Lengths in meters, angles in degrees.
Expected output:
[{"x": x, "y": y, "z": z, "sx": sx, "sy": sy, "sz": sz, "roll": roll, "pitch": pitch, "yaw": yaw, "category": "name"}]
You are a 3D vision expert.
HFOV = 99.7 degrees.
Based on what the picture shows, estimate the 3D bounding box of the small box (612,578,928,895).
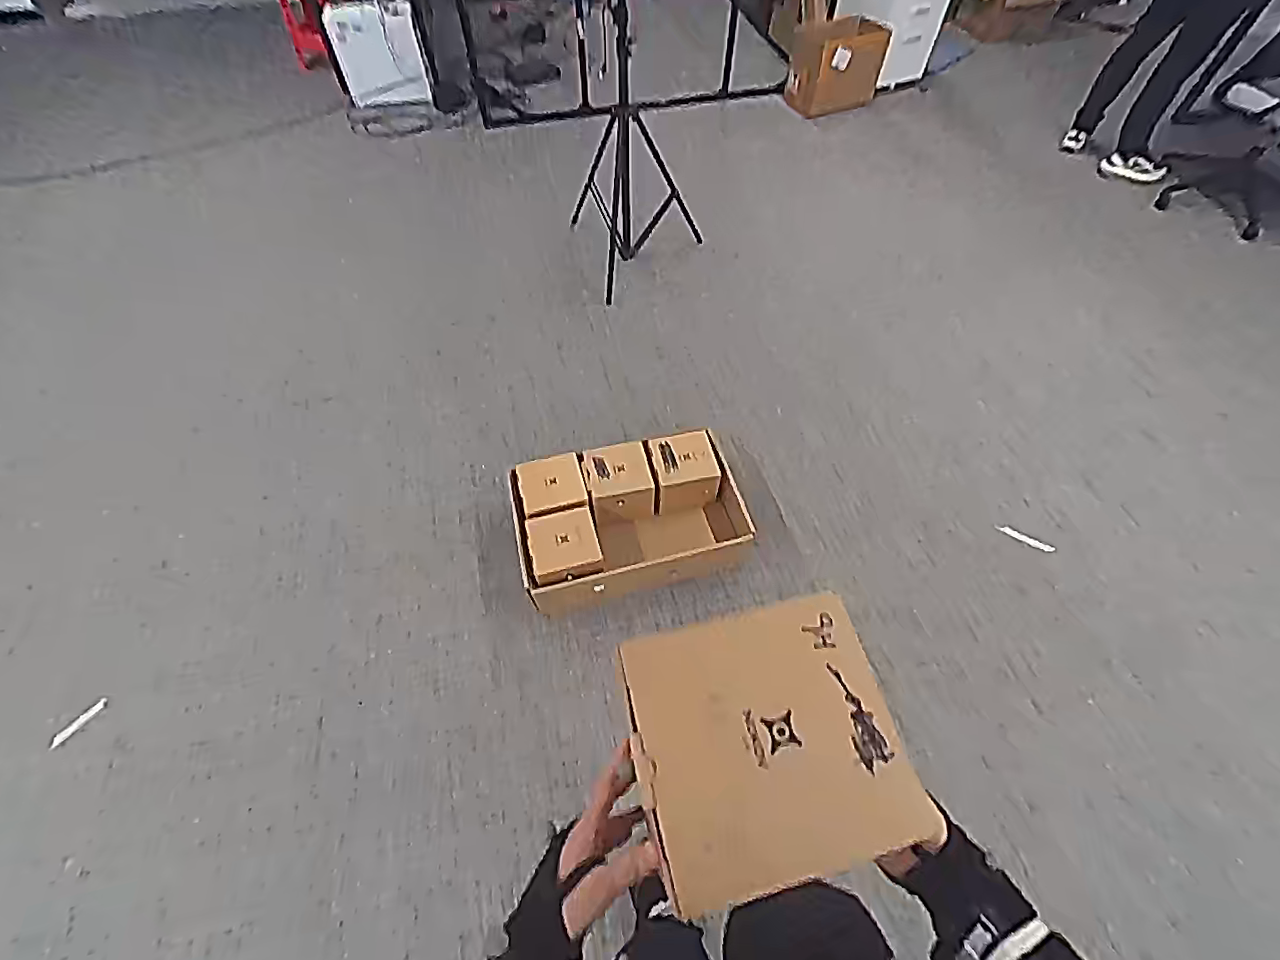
[{"x": 0.081, "y": 0.198, "z": 0.438, "sx": 0.179, "sy": 0.176, "sz": 0.168, "roll": -12, "pitch": 65, "yaw": -8, "category": "small box"}]
